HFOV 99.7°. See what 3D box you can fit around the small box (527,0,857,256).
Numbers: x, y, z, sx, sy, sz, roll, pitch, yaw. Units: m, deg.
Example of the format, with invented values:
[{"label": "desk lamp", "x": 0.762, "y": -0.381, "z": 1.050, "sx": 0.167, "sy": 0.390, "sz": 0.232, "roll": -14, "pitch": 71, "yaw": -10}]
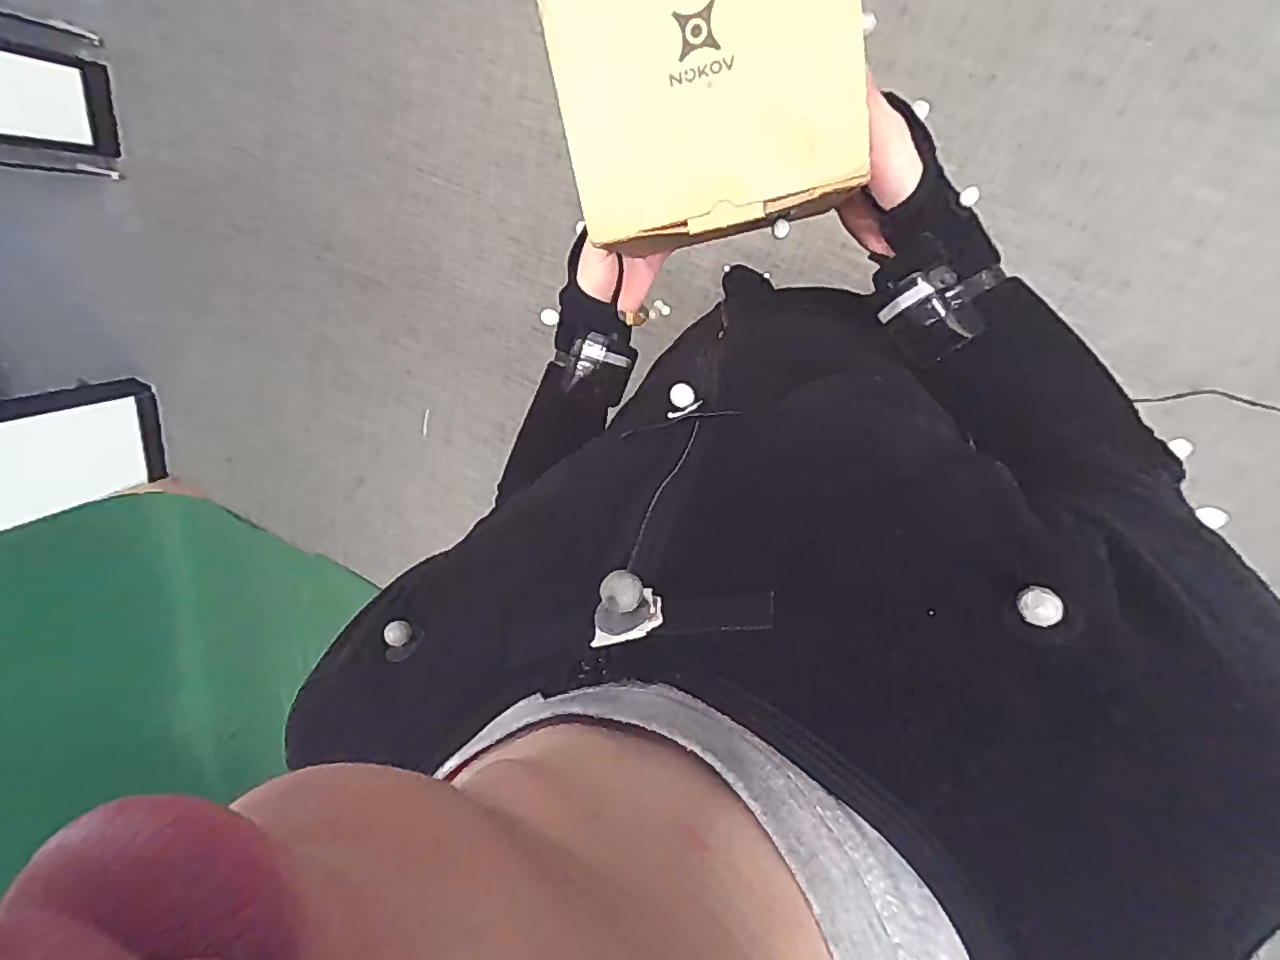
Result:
[{"label": "small box", "x": 0.040, "y": -0.259, "z": 0.364, "sx": 0.168, "sy": 0.176, "sz": 0.179, "roll": -9, "pitch": 108, "yaw": 13}]
